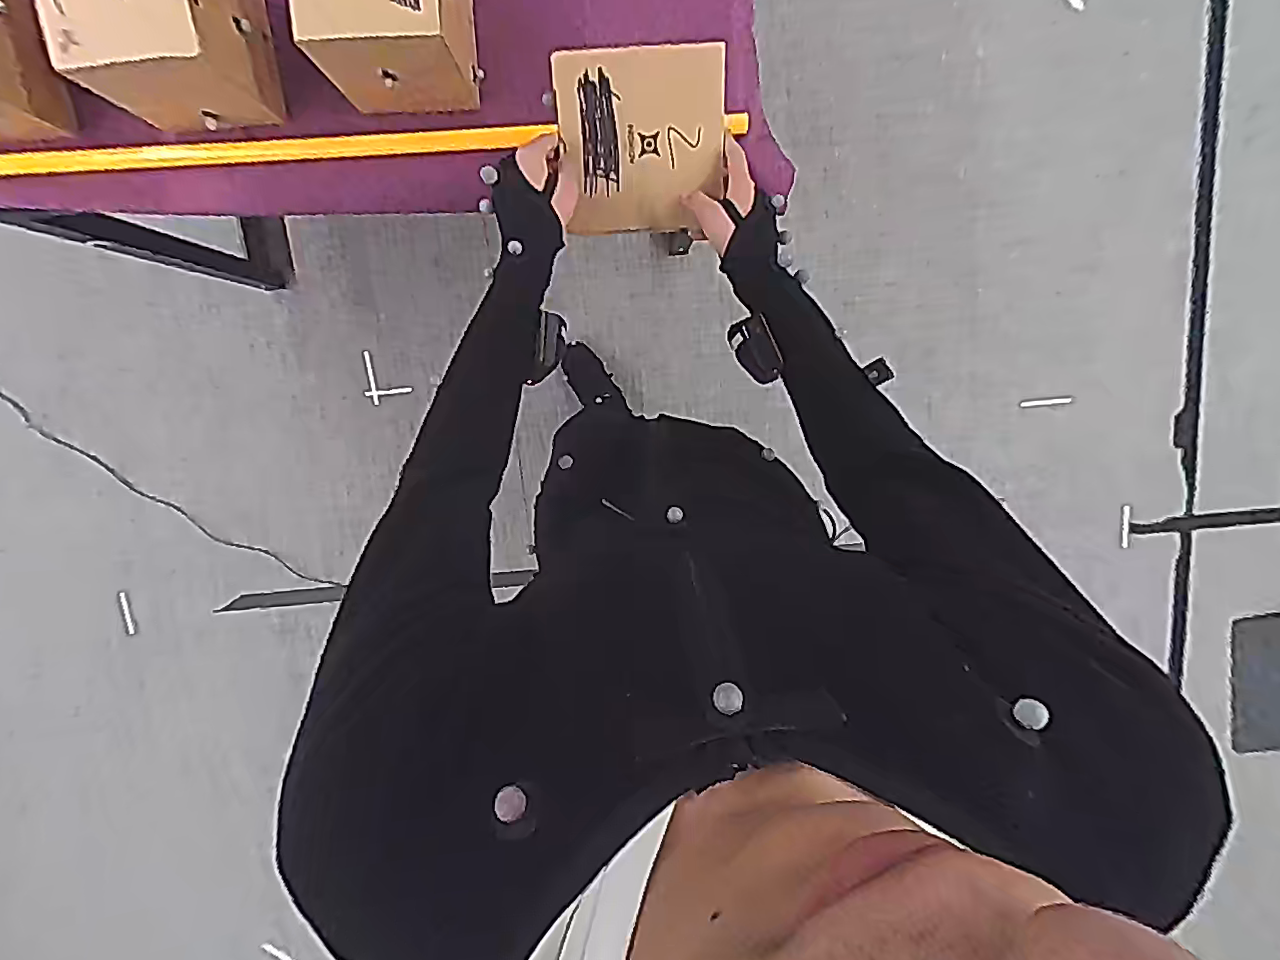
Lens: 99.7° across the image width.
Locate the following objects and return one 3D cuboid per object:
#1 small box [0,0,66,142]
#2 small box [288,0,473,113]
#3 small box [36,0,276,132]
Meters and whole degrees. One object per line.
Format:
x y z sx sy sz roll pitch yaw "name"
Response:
-0.902 -0.555 0.689 0.179 0.176 0.168 -6 100 -3 "small box"
-0.324 -0.605 0.699 0.179 0.176 0.168 -2 98 0 "small box"
-0.607 -0.578 0.696 0.179 0.176 0.168 -6 100 -1 "small box"
